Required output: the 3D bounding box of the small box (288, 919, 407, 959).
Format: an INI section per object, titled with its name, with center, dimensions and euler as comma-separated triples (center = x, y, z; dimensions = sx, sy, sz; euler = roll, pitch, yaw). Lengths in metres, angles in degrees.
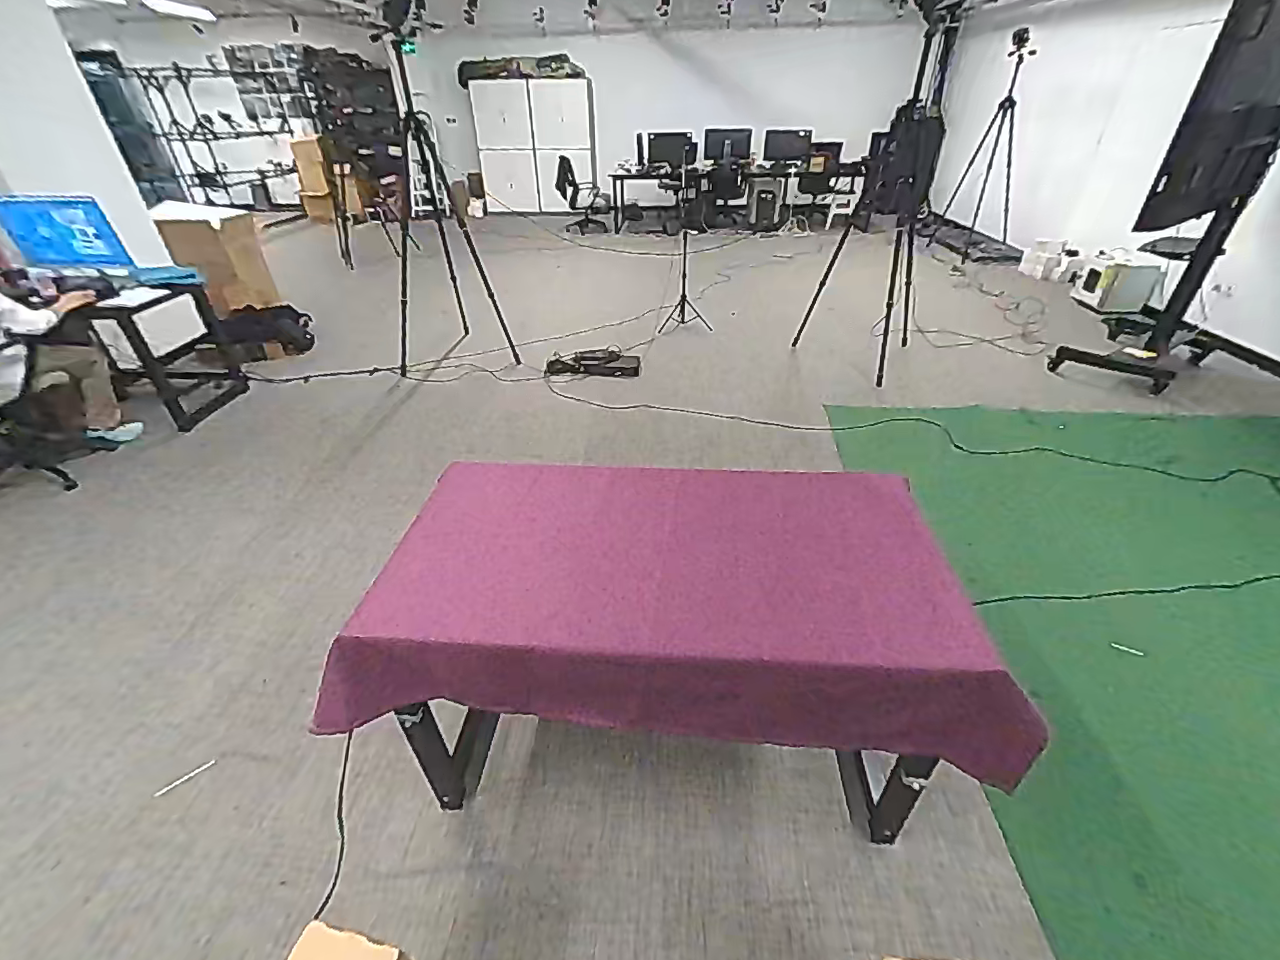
[small box]
center = -0.462, 0.823, 0.819
dimensions = 0.168, 0.176, 0.179
euler = 7, 35, 12
